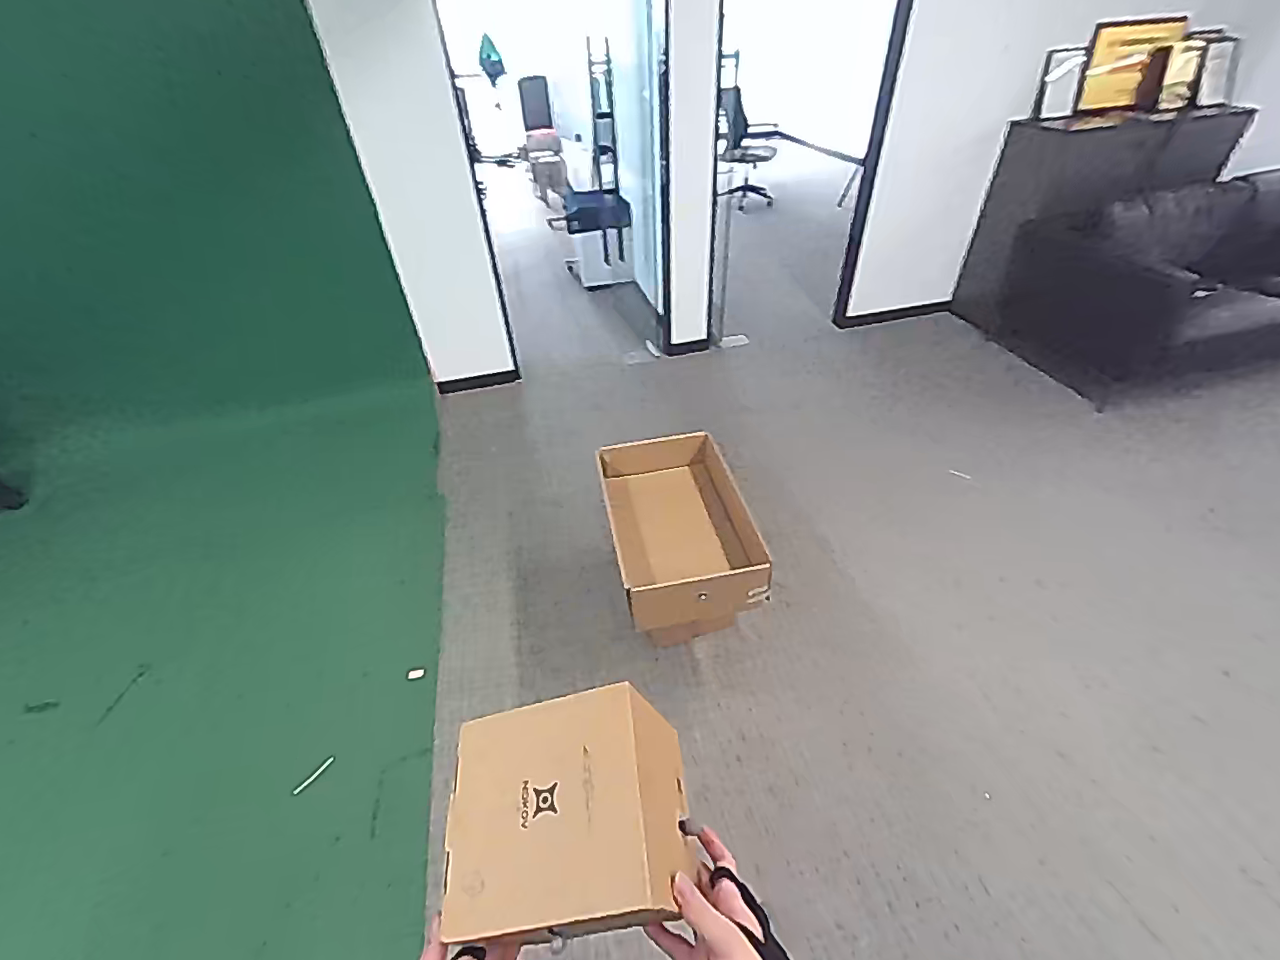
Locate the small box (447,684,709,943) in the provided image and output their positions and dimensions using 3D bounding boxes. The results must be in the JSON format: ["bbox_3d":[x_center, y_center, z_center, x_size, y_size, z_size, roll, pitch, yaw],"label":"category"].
[{"bbox_3d":[-0.048,0.318,0.507,0.179,0.176,0.168,-16,47,9],"label":"small box"}]
